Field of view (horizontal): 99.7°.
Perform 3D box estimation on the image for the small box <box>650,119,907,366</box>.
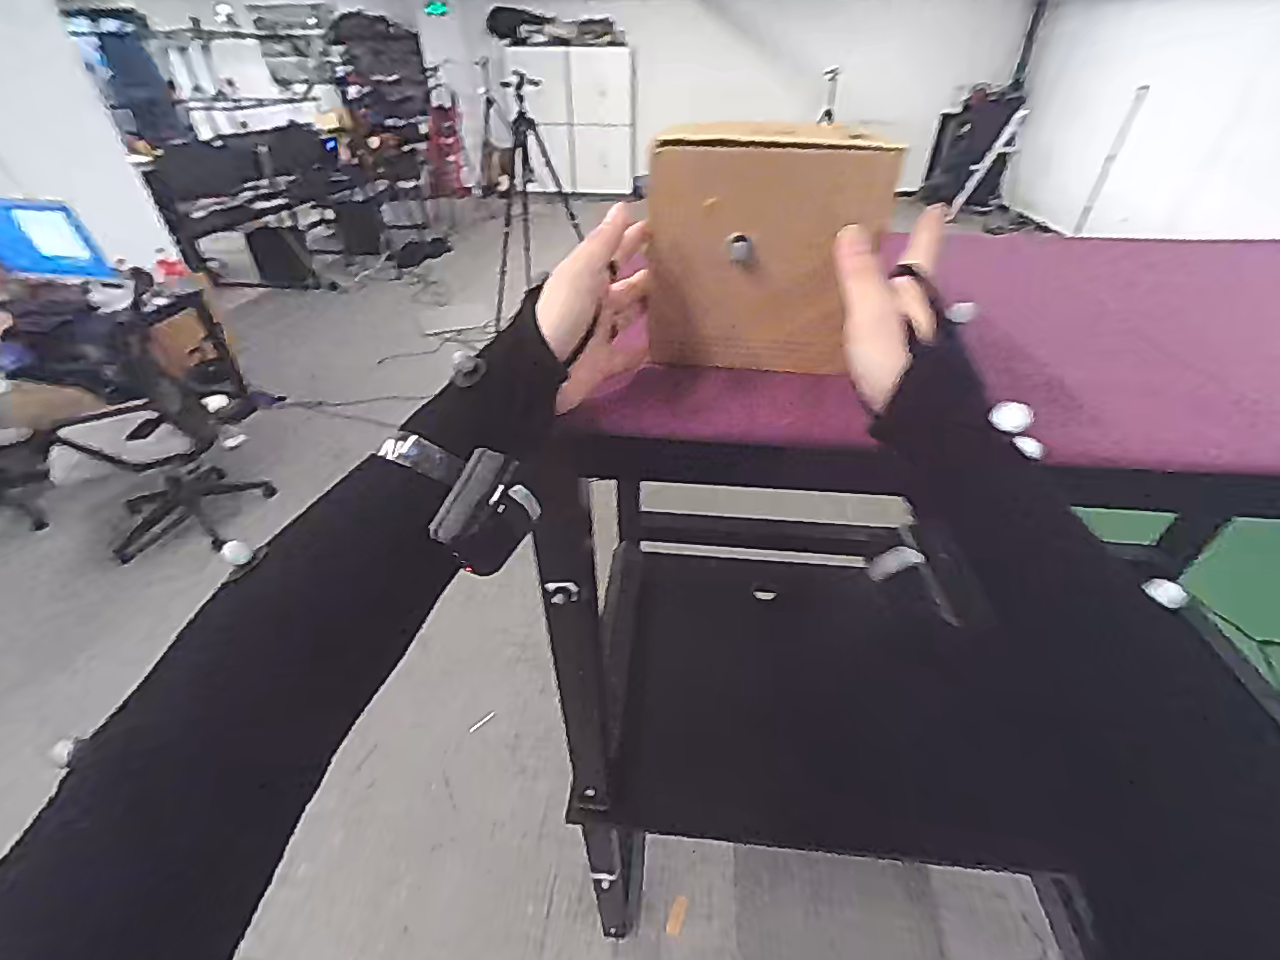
[{"bbox_3d":[0.106,-0.212,0.478,0.179,0.176,0.168,5,38,7],"label":"small box"}]
